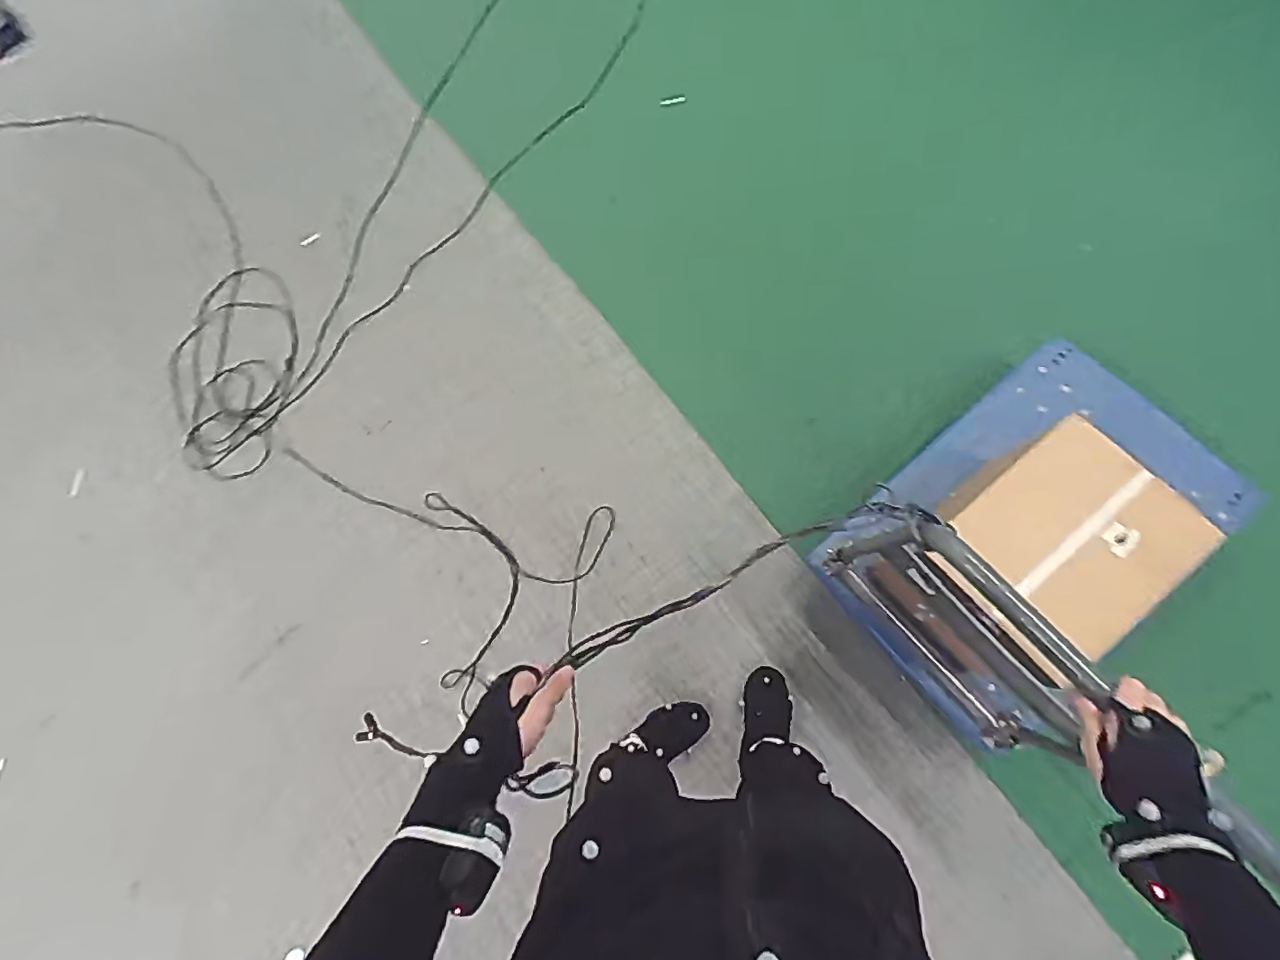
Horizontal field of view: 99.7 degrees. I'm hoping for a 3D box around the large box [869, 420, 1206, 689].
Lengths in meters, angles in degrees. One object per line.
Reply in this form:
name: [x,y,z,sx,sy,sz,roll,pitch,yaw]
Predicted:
large box: [0.763,0.160,1.109,0.408,0.320,0.320,-39,76,-6]
